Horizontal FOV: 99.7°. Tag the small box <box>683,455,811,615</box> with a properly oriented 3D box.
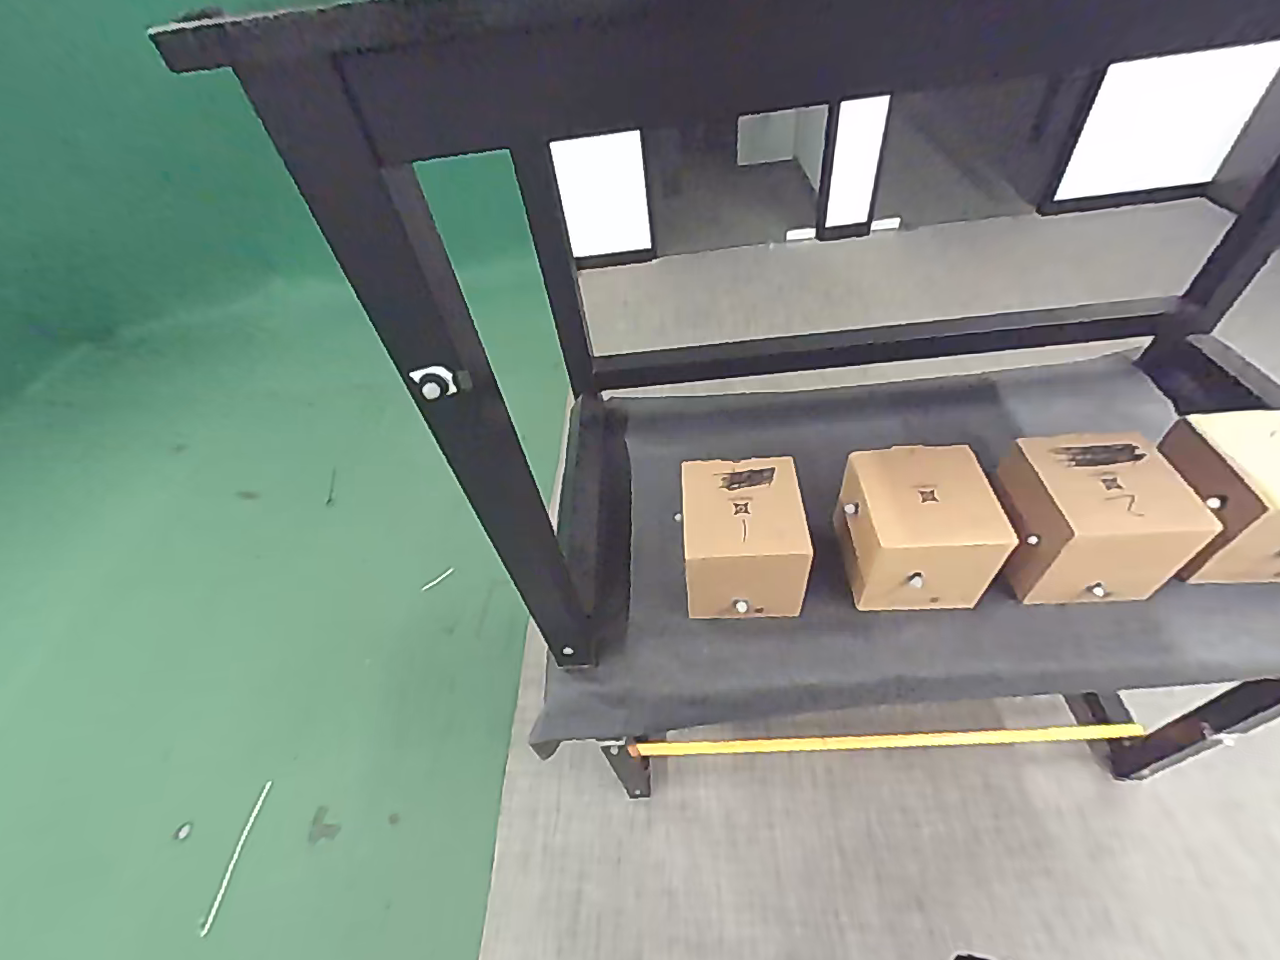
[{"bbox_3d":[0.150,0.084,0.811,0.168,0.176,0.179,-3,48,7],"label":"small box"}]

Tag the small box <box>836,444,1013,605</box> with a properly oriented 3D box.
[{"bbox_3d":[0.394,0.070,0.786,0.168,0.176,0.179,-3,47,7],"label":"small box"}]

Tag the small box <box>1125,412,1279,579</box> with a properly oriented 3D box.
[{"bbox_3d":[0.843,0.026,0.750,0.168,0.176,0.179,-2,47,7],"label":"small box"}]
